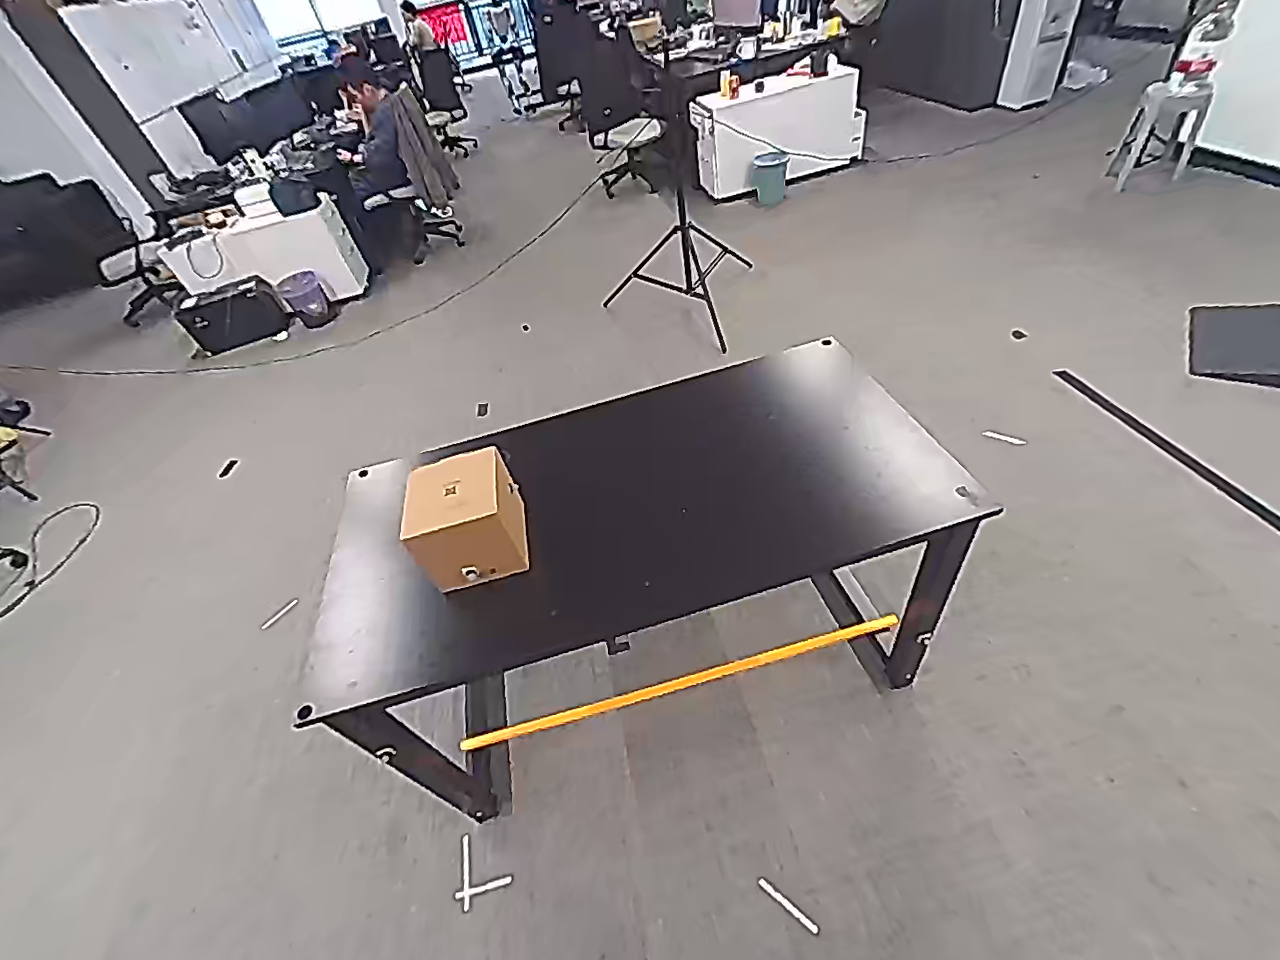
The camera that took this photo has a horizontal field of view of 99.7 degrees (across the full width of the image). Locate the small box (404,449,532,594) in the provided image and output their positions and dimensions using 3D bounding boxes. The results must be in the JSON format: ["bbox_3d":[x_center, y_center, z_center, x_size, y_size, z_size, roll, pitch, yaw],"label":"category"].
[{"bbox_3d":[-0.306,0.077,0.990,0.168,0.176,0.179,-17,46,-2],"label":"small box"}]
